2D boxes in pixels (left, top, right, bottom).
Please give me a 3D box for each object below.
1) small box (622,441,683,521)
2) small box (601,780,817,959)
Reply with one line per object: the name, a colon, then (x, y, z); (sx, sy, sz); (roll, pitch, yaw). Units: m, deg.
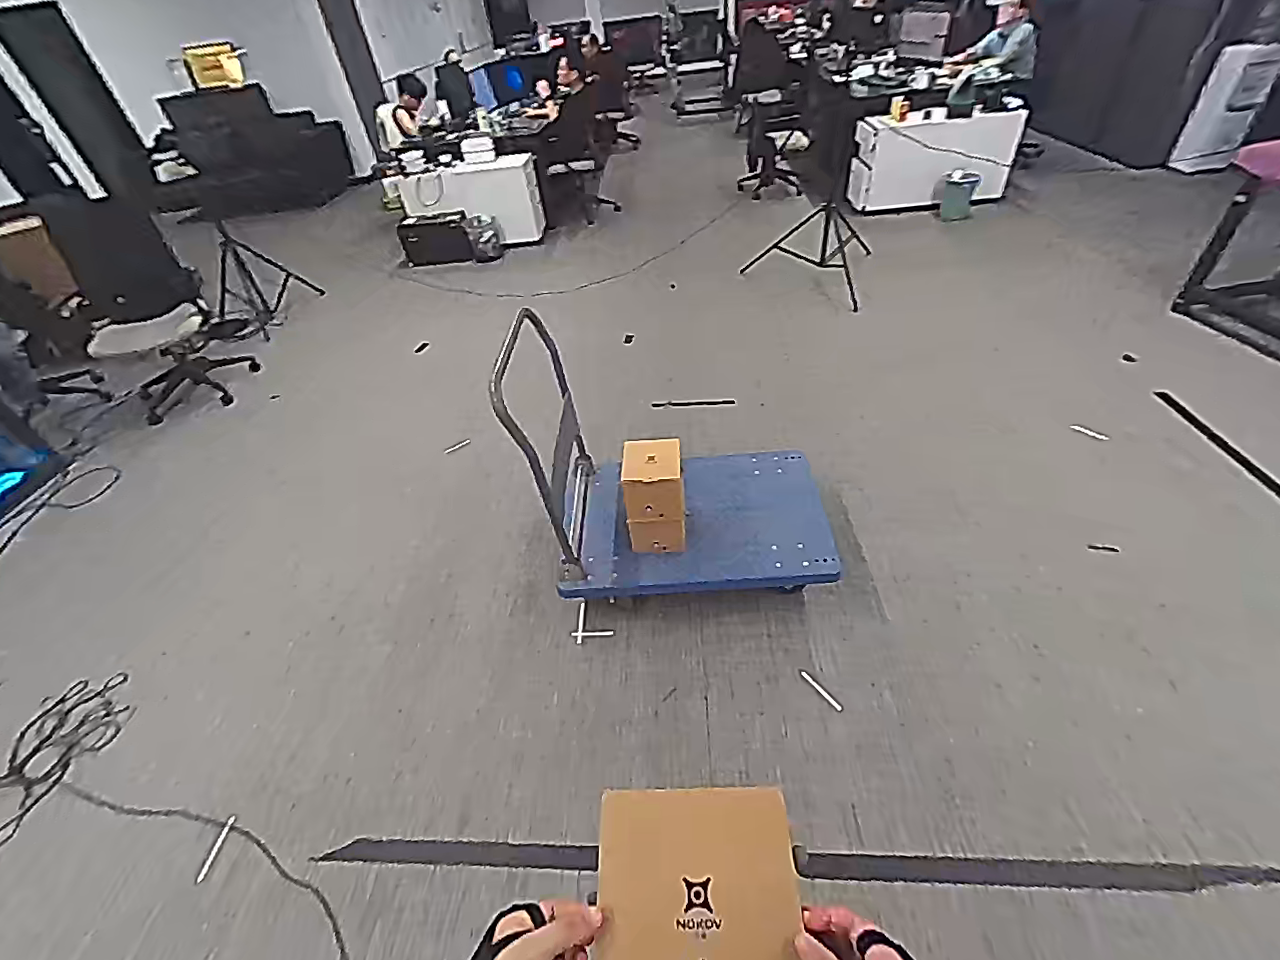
small box: (0.041, 0.004, 1.596); (0.168, 0.176, 0.179); (-3, 43, 5)
small box: (0.059, 0.391, 0.486); (0.168, 0.176, 0.179); (-4, 46, 5)
